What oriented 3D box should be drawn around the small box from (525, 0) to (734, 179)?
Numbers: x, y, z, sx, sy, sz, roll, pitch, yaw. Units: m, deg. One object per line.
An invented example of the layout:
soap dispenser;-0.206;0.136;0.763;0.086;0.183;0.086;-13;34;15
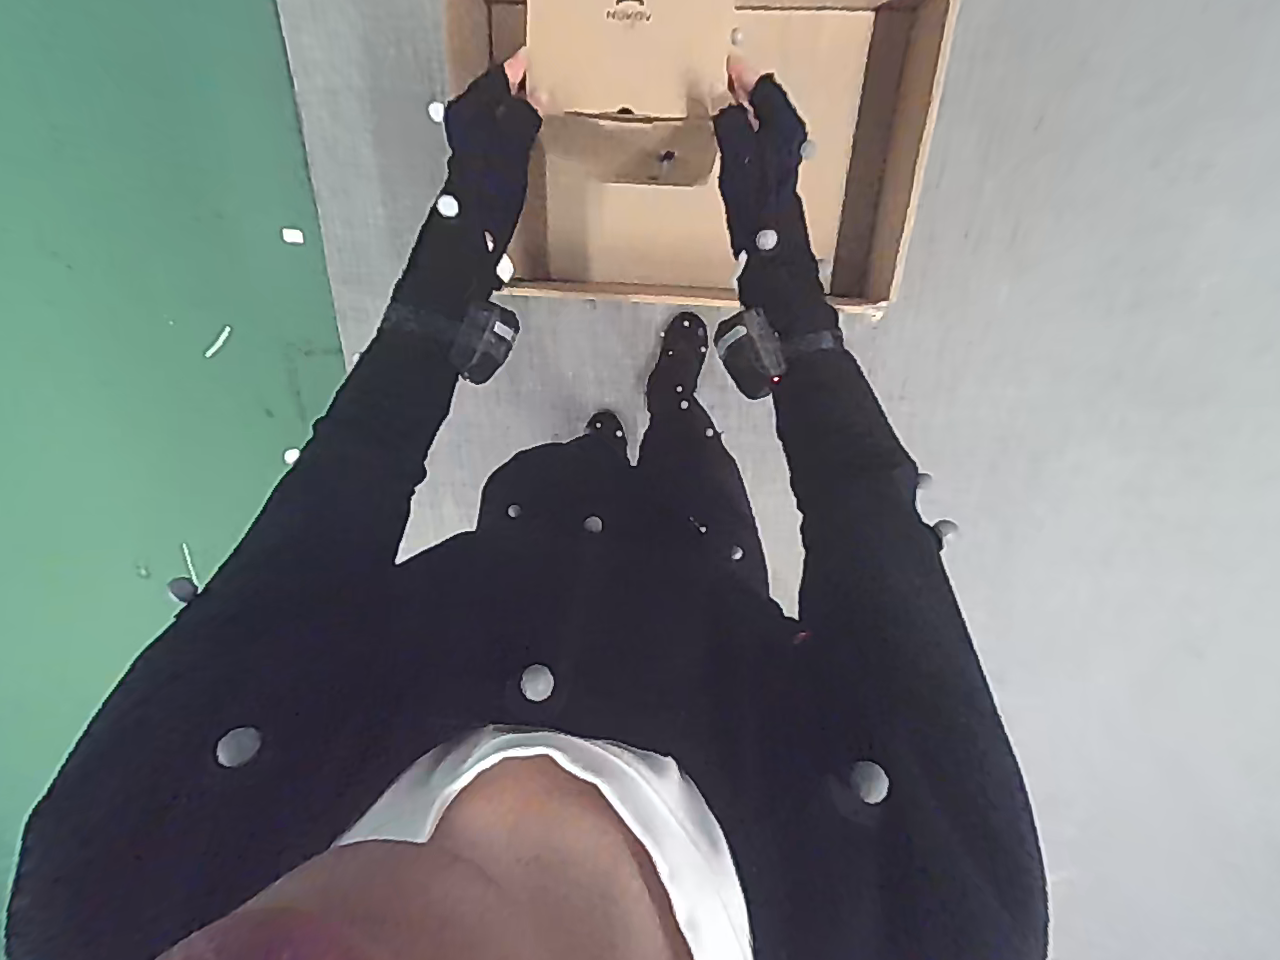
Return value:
small box;-0.005;-0.399;0.498;0.168;0.176;0.179;3;101;0
